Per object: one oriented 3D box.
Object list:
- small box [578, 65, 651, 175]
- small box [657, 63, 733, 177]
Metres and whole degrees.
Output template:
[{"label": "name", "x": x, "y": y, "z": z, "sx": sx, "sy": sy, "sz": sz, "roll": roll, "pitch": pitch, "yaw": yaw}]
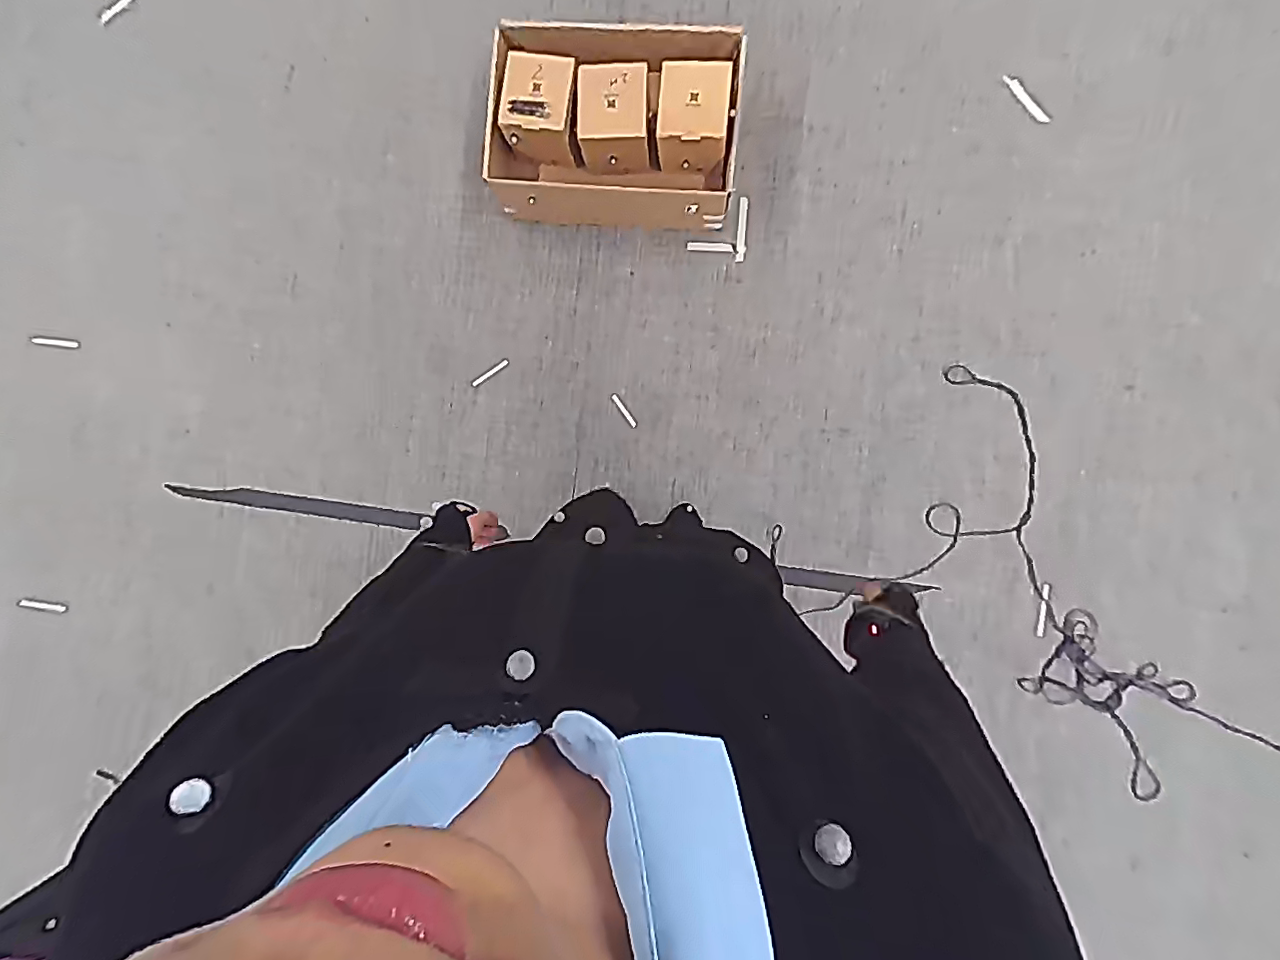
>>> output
[{"label": "small box", "x": -0.060, "y": -0.896, "z": 1.362, "sx": 0.168, "sy": 0.176, "sz": 0.179, "roll": 1, "pitch": 91, "yaw": 3}, {"label": "small box", "x": 0.136, "y": -0.890, "z": 1.346, "sx": 0.168, "sy": 0.176, "sz": 0.179, "roll": 5, "pitch": 92, "yaw": 7}]
